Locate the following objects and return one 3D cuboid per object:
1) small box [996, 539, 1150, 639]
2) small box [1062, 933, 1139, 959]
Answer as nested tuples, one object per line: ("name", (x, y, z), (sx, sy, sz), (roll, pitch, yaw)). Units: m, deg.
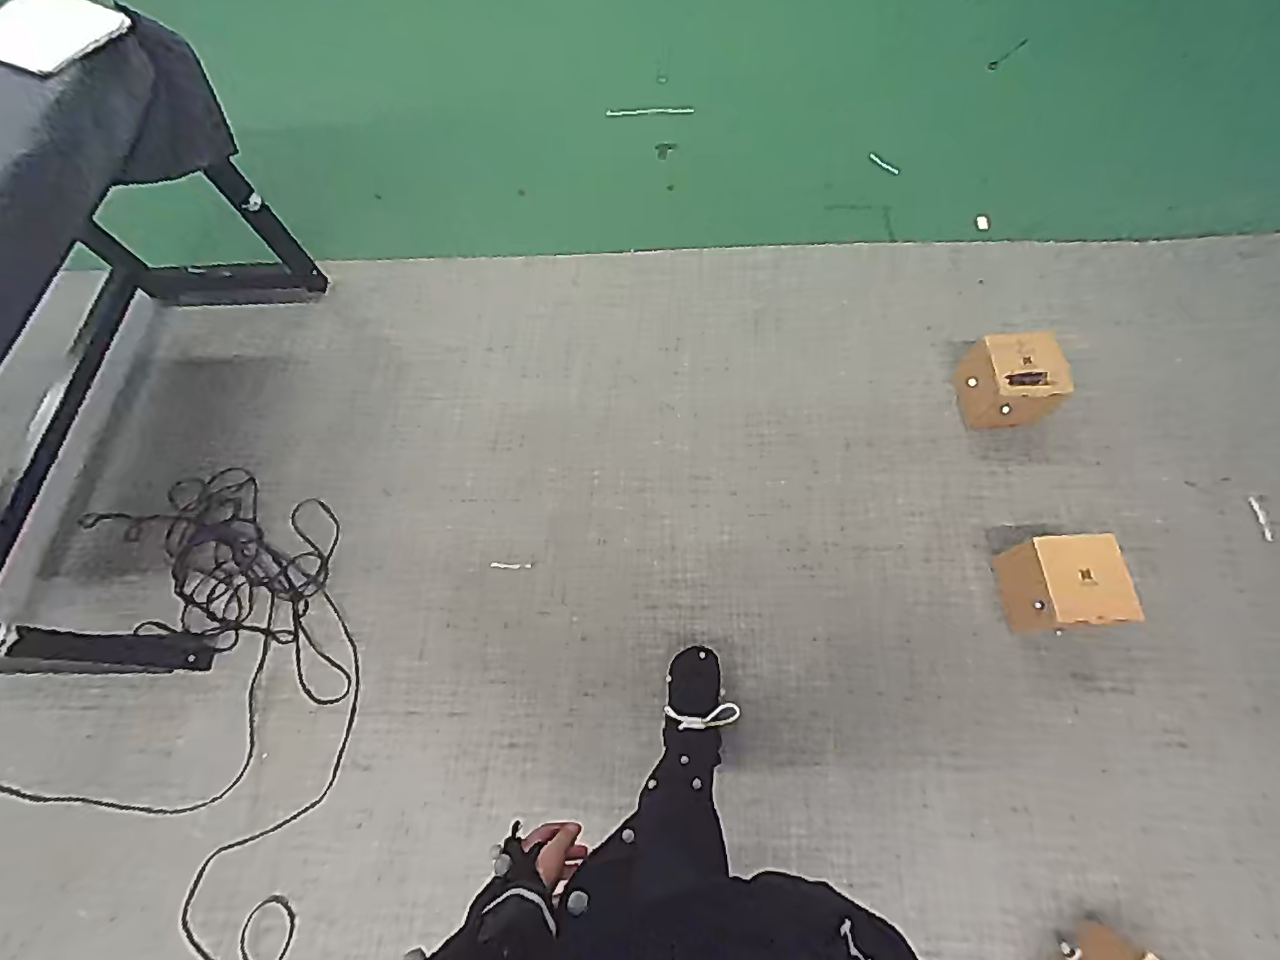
("small box", (0.891, 0.233, 1.137), (0.168, 0.176, 0.179), (-3, 67, 2))
("small box", (0.804, 0.890, 0.864), (0.168, 0.176, 0.179), (-40, 70, -14))
